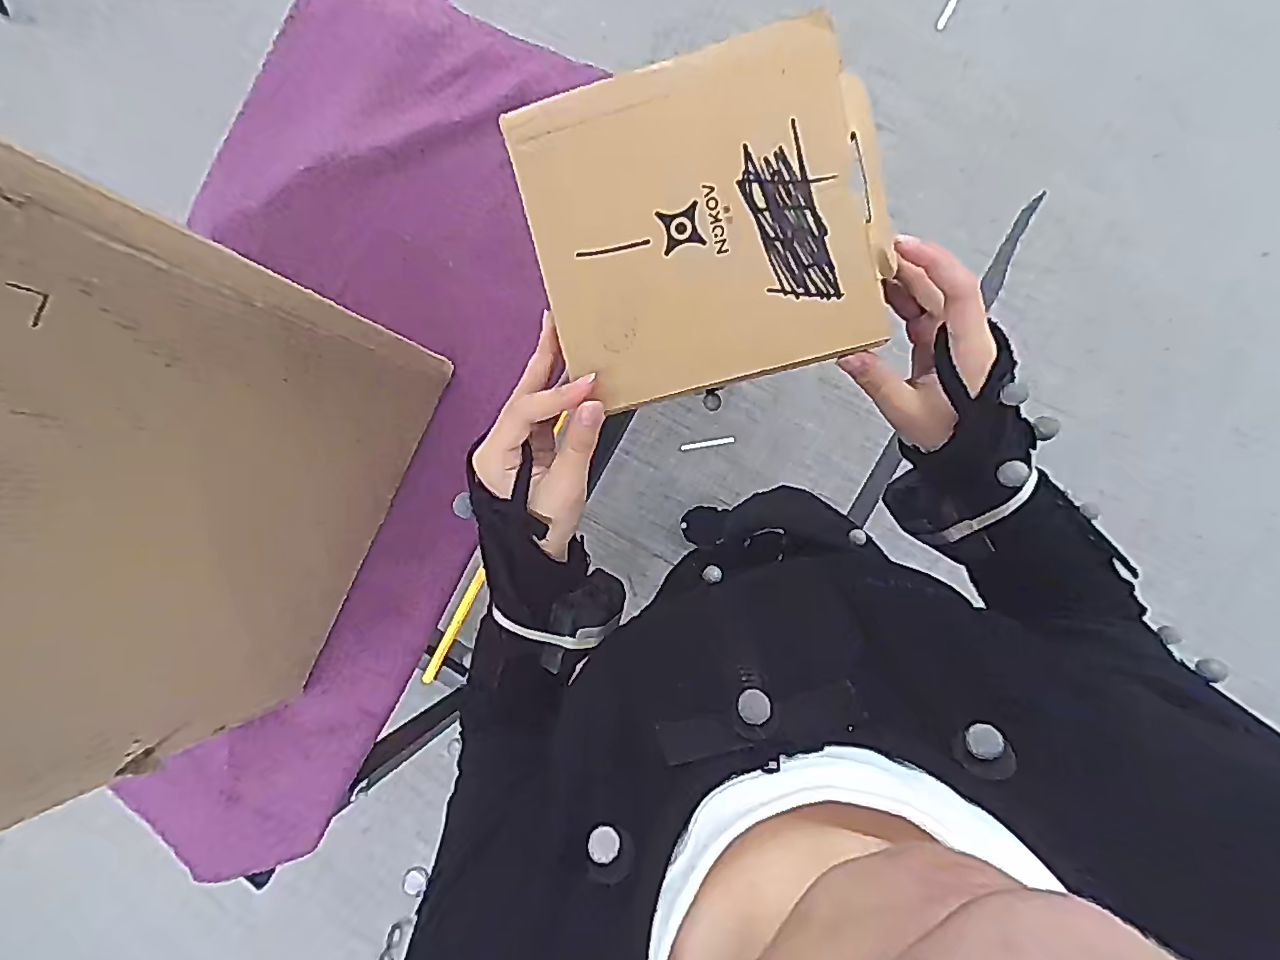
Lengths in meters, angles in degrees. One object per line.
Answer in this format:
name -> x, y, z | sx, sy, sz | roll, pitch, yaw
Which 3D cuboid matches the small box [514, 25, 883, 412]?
small box -> 0.037, -0.148, 0.372 | 0.179, 0.176, 0.168 | -13, 97, 6
